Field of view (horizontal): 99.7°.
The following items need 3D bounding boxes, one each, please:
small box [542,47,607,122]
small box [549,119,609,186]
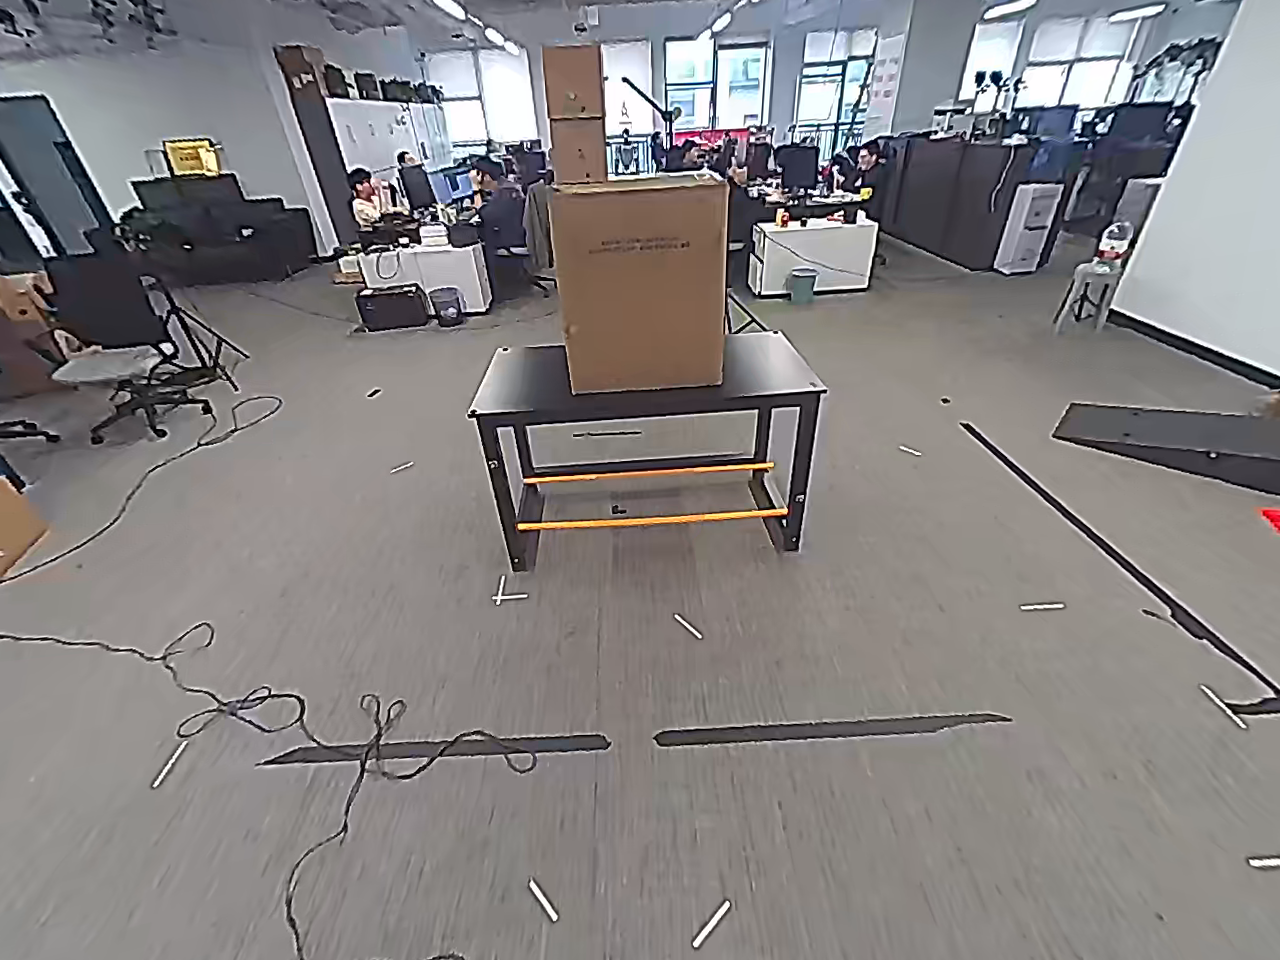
[{"bbox_3d":[-0.186,-1.151,1.584,0.168,0.176,0.179,-3,34,0],"label":"small box"},{"bbox_3d":[-0.183,-1.022,1.690,0.168,0.176,0.179,-3,34,-1],"label":"small box"}]
